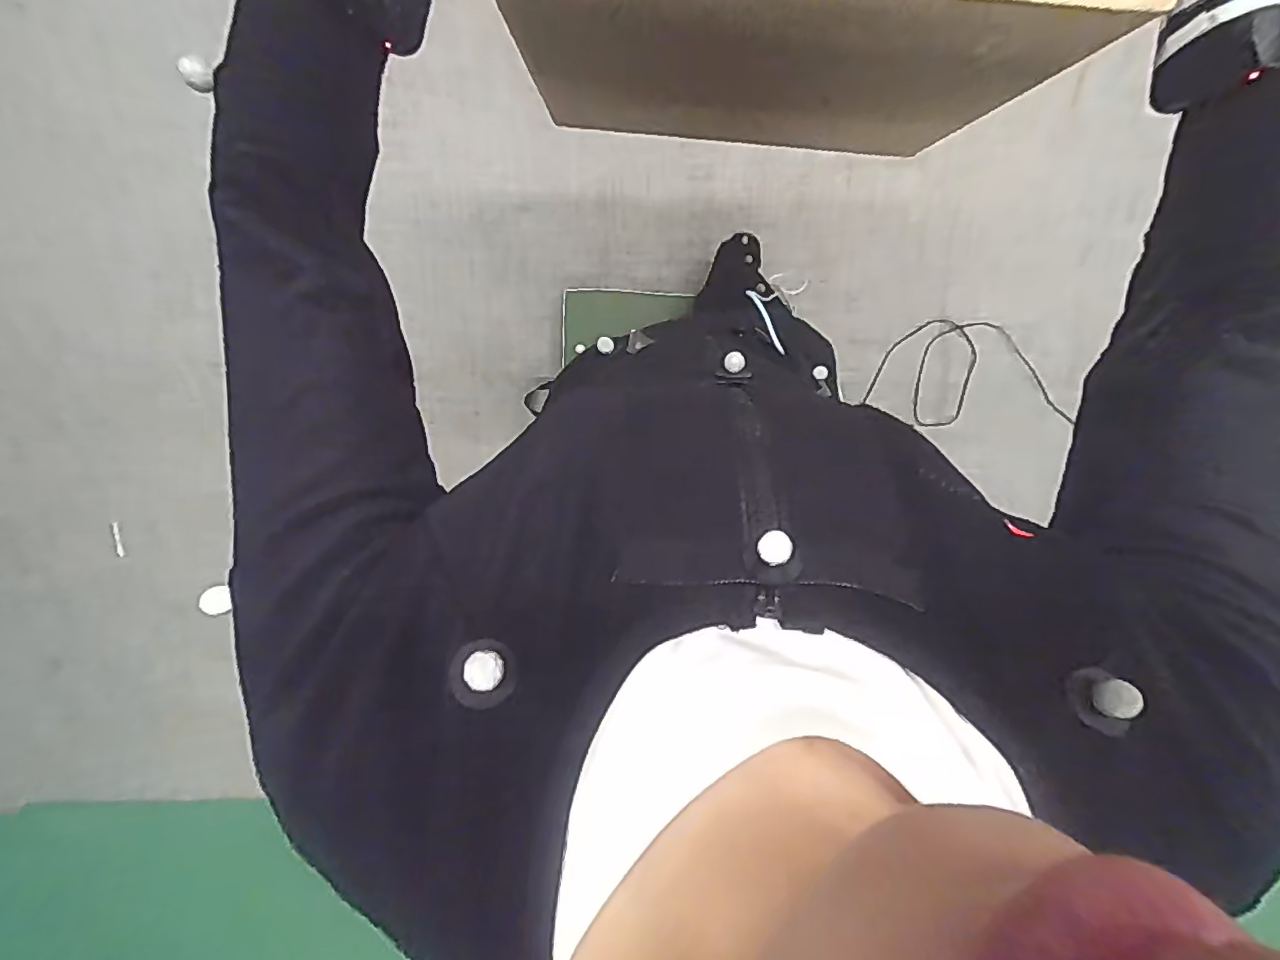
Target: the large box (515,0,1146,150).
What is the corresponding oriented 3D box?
[{"bbox_3d":[0.116,-0.482,0.421,0.408,0.320,0.320,3,108,-2],"label":"large box"}]
